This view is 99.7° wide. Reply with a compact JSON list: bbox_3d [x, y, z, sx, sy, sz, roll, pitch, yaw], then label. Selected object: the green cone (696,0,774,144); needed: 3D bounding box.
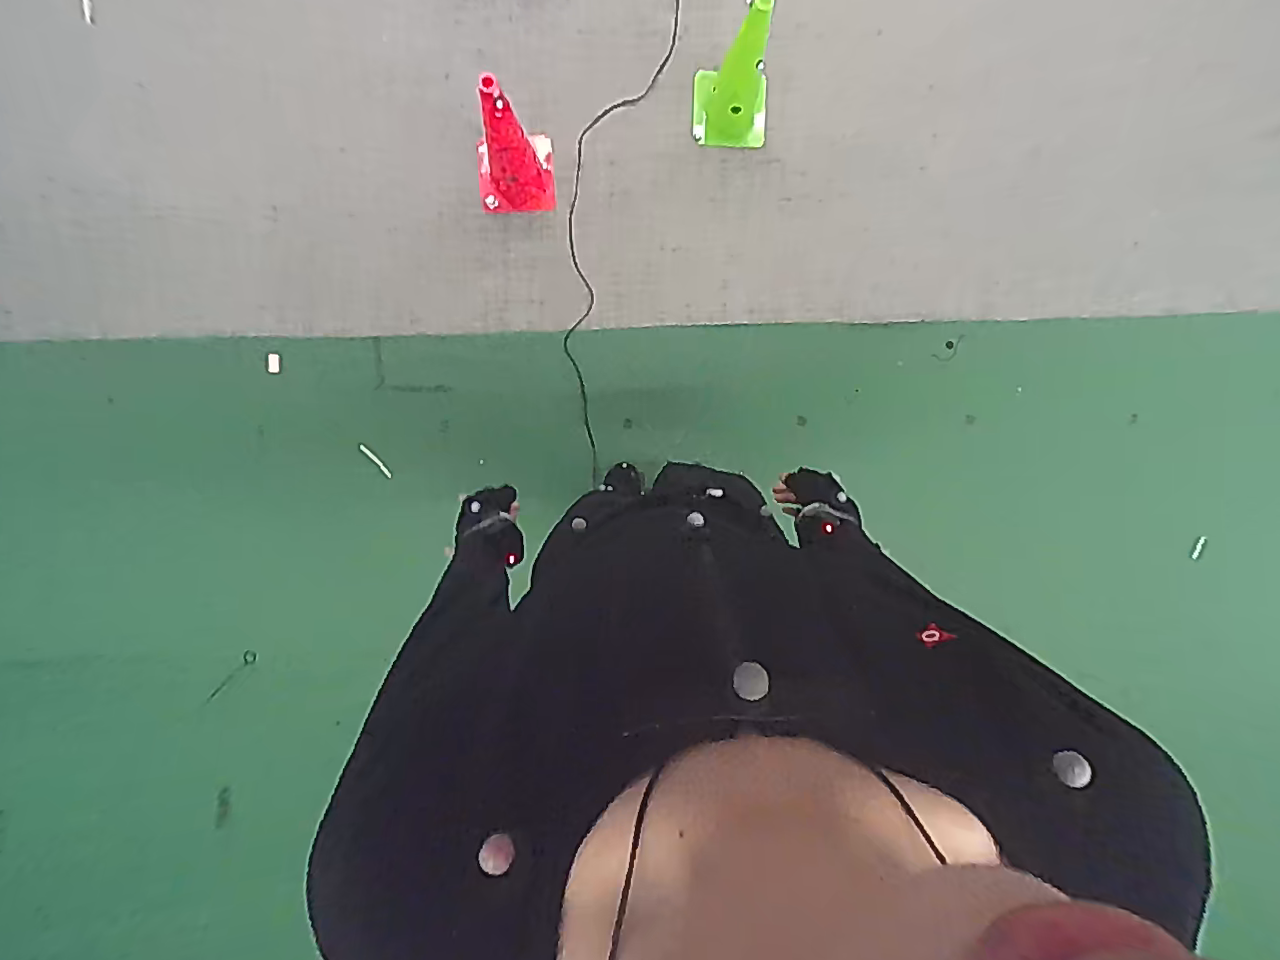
[{"bbox_3d":[0.261,-1.023,1.311,0.200,0.368,0.202,0,90,-3],"label":"green cone"}]
